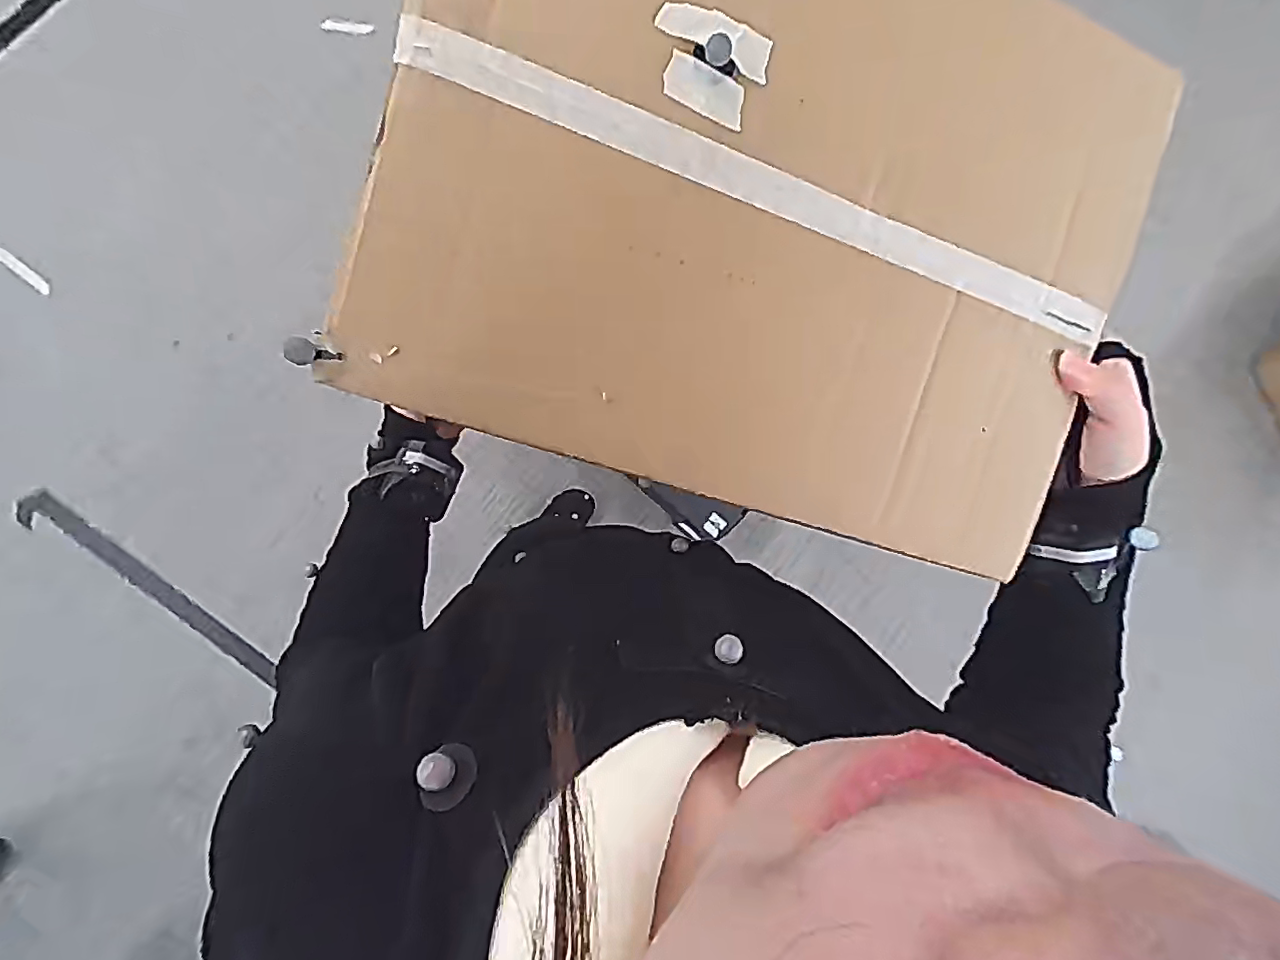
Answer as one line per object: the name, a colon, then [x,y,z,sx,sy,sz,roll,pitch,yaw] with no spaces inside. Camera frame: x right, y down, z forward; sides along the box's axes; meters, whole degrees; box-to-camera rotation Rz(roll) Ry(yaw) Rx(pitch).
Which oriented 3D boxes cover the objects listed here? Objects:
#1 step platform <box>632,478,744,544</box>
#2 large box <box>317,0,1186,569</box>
step platform: [0.015,-0.154,1.420,0.286,0.204,0.684,-44,93,-8]
large box: [0.054,-0.156,0.421,0.408,0.320,0.320,15,93,-11]
